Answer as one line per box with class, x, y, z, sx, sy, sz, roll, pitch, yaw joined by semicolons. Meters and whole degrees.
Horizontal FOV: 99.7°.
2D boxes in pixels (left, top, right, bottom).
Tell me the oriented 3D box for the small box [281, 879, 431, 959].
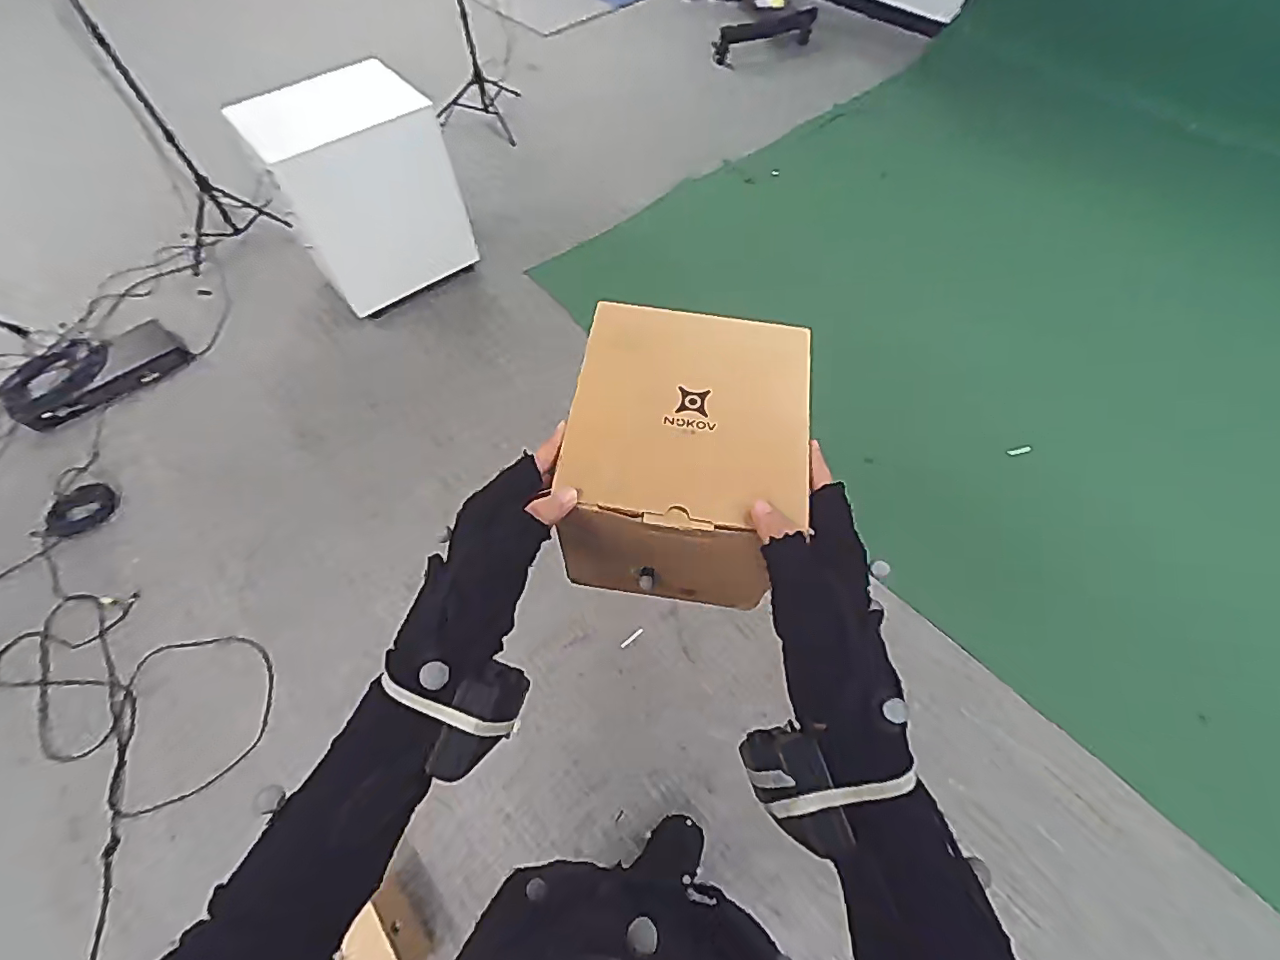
small box;-0.534;0.911;1.039;0.168;0.176;0.179;-36;64;-19
